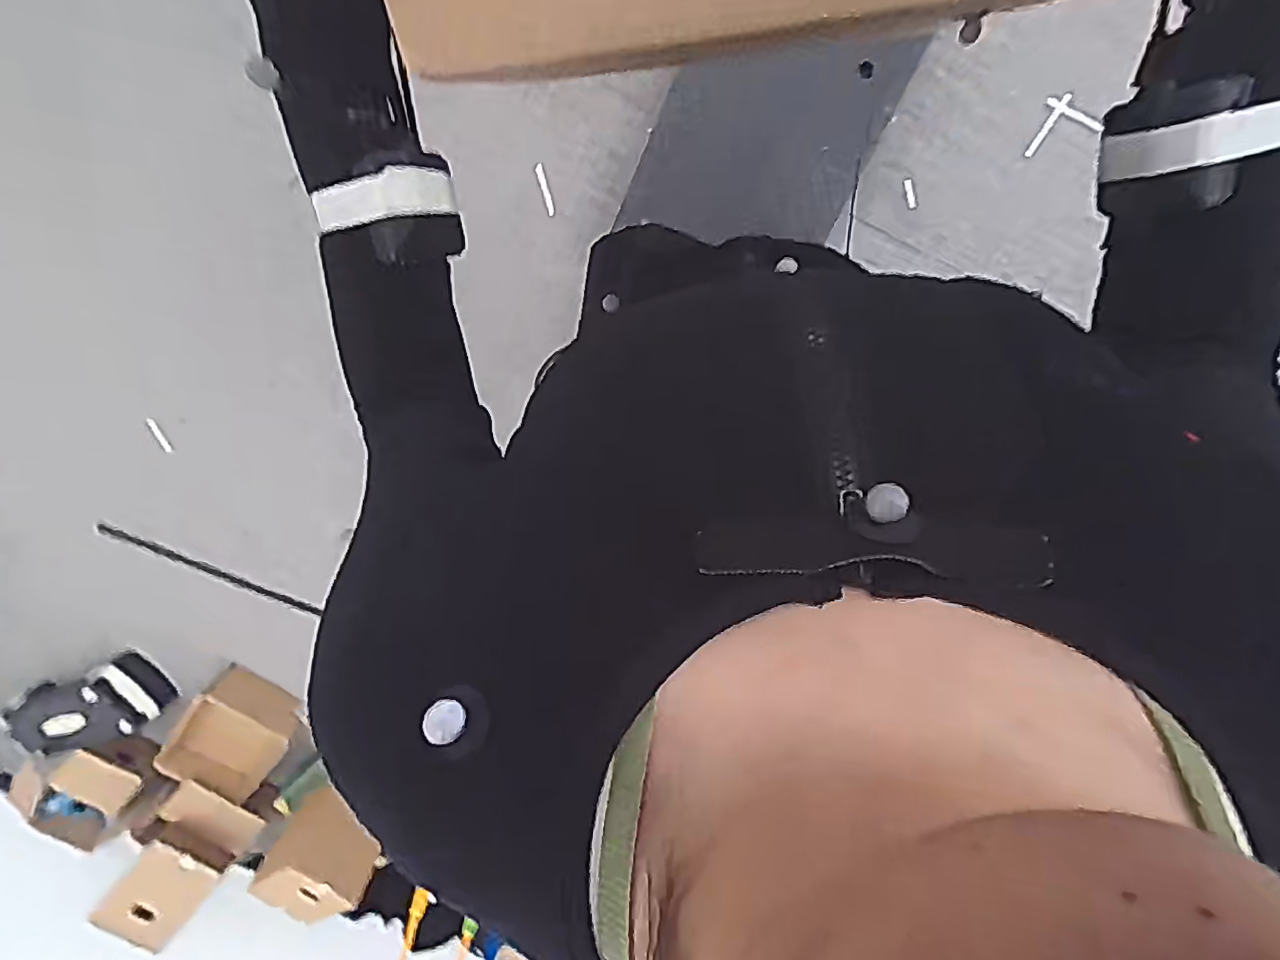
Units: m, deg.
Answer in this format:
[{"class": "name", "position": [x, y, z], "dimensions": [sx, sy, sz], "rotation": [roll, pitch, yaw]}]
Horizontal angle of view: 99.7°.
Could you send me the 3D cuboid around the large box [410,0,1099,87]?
[{"class": "large box", "position": [0.065, -0.459, 0.336], "dimensions": [0.408, 0.320, 0.320], "rotation": [-2, 125, 6]}]
